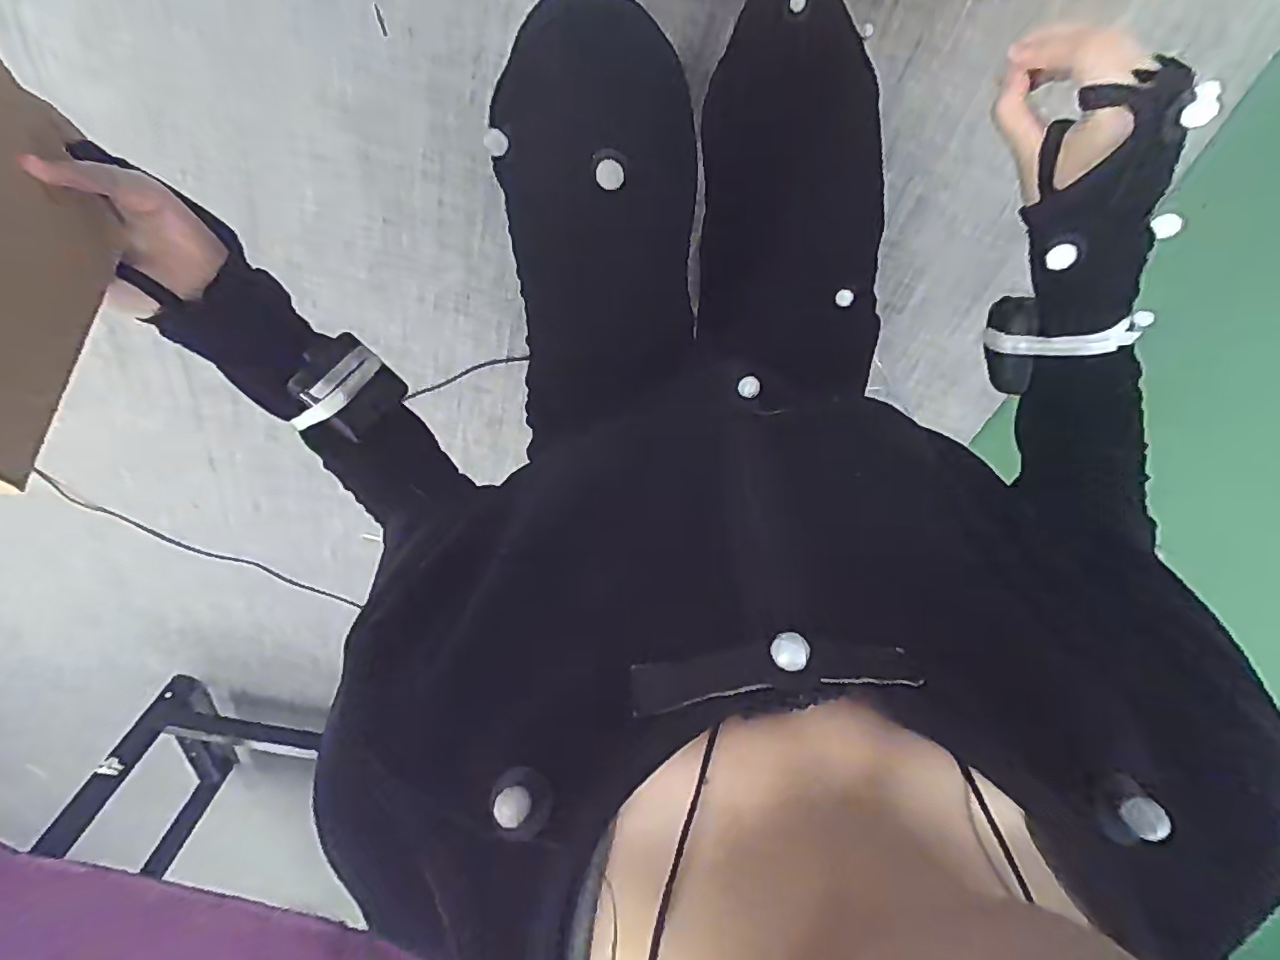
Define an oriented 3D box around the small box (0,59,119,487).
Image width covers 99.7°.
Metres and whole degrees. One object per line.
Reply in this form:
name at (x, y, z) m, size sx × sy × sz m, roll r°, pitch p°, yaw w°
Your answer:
small box at (-0.349, -0.107, 0.190) m, size 0.168 × 0.176 × 0.179 m, roll -1°, pitch 154°, yaw -14°
